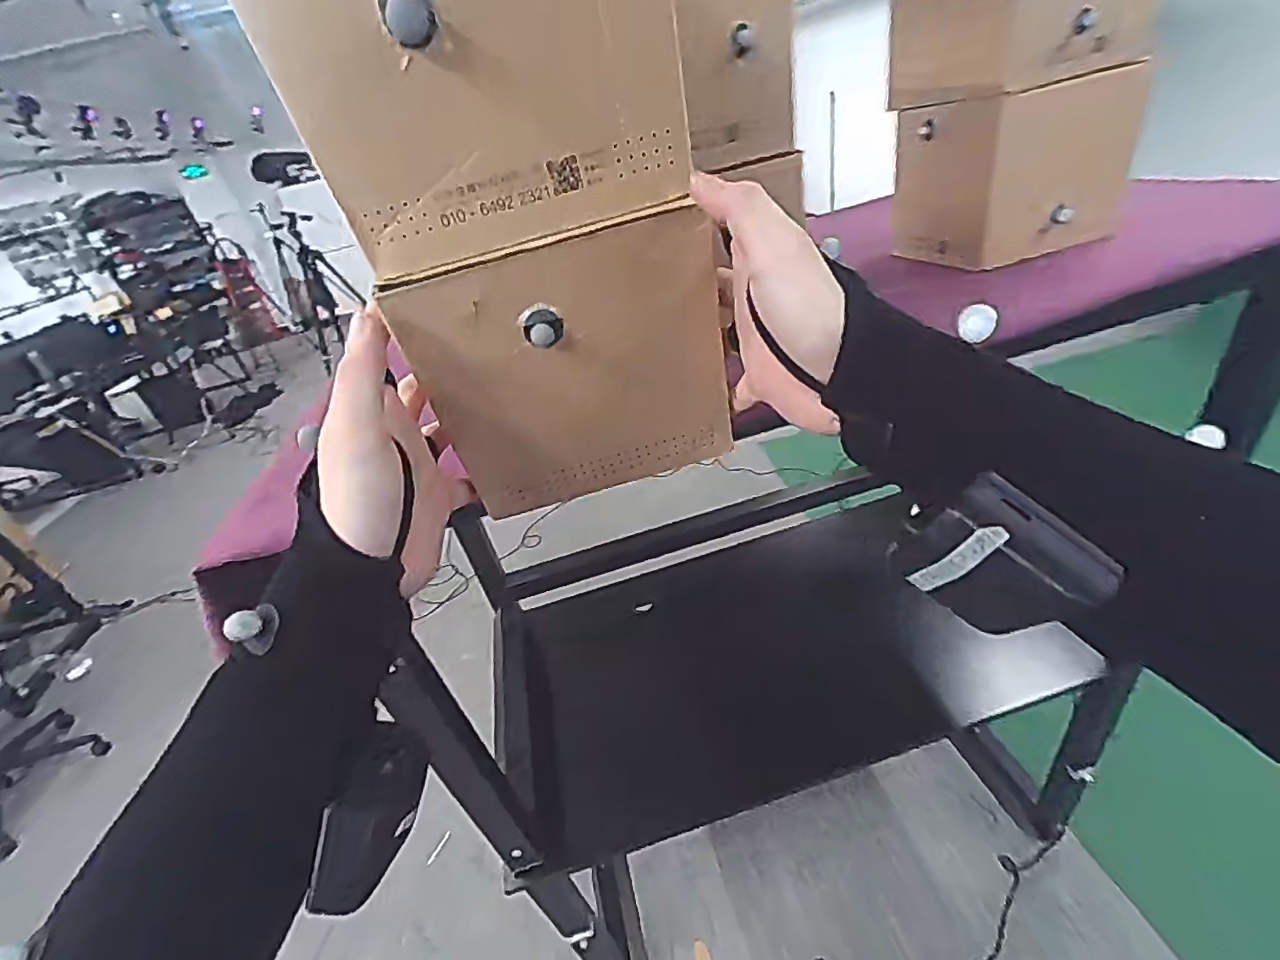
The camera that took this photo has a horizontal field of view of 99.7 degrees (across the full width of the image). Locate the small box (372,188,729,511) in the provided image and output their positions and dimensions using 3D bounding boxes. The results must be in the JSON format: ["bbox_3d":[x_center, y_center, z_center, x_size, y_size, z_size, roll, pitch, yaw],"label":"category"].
[{"bbox_3d":[-0.049,-0.102,0.381,0.179,0.176,0.168,-16,41,-1],"label":"small box"}]

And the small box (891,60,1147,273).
[{"bbox_3d":[0.417,-0.358,0.633,0.179,0.176,0.168,-17,31,-5],"label":"small box"}]

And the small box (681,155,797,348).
[{"bbox_3d":[0.061,-0.249,0.604,0.179,0.176,0.168,-17,32,-4],"label":"small box"}]

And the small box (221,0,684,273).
[{"bbox_3d":[-0.084,-0.225,0.280,0.168,0.176,0.179,-17,40,0],"label":"small box"}]

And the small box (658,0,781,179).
[{"bbox_3d":[0.025,-0.384,0.519,0.168,0.176,0.179,-16,32,-4],"label":"small box"}]
